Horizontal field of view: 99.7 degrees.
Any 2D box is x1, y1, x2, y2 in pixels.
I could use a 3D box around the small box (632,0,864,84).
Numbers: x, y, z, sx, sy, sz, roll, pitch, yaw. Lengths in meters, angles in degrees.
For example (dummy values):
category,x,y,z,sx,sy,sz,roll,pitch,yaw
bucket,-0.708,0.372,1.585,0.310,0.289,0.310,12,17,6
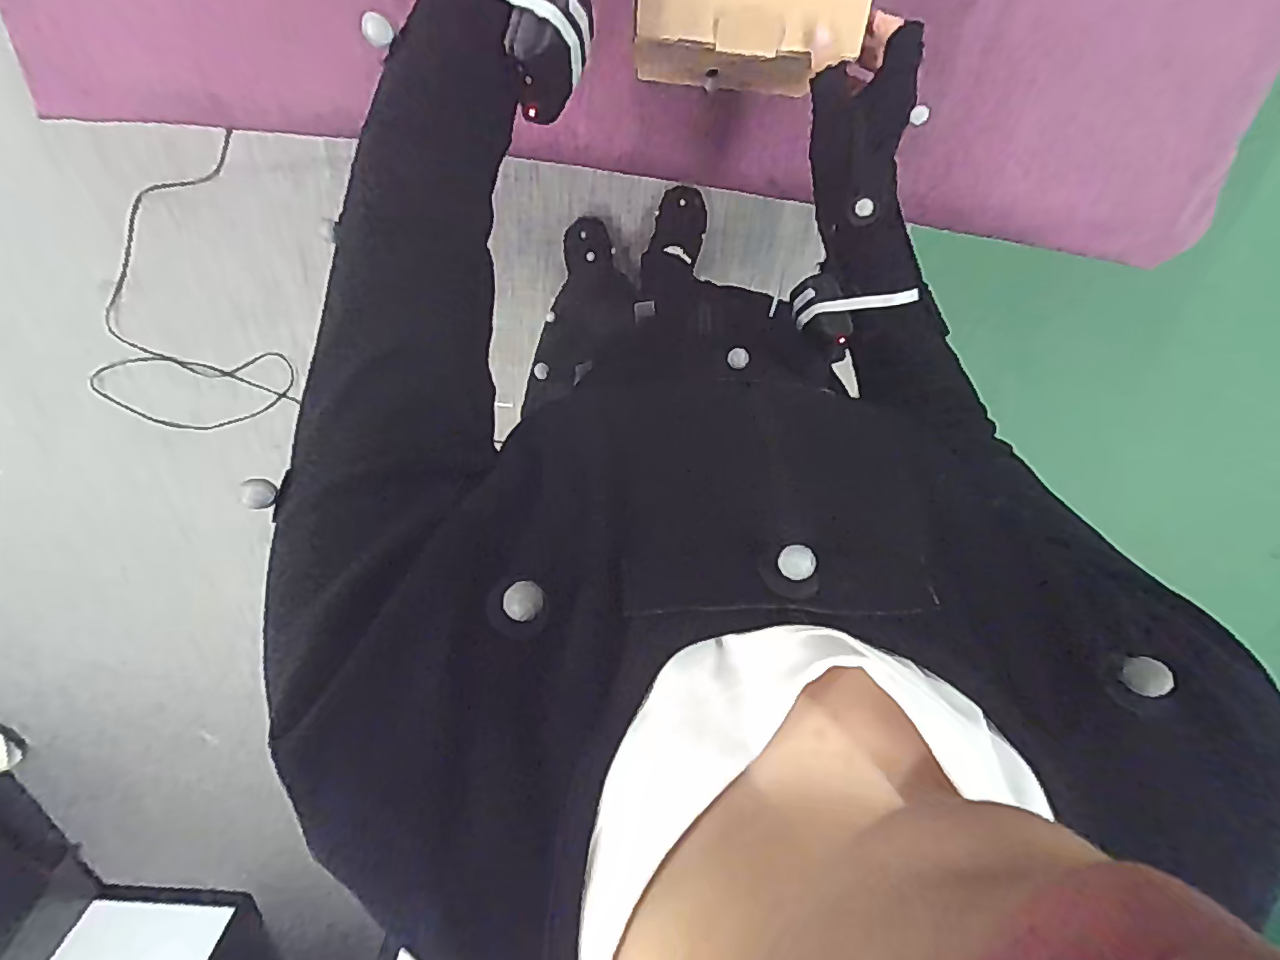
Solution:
category,x,y,z,sx,sy,sz,roll,pitch,yaw
small box,0.083,-0.432,0.419,0.168,0.176,0.179,5,121,-1
